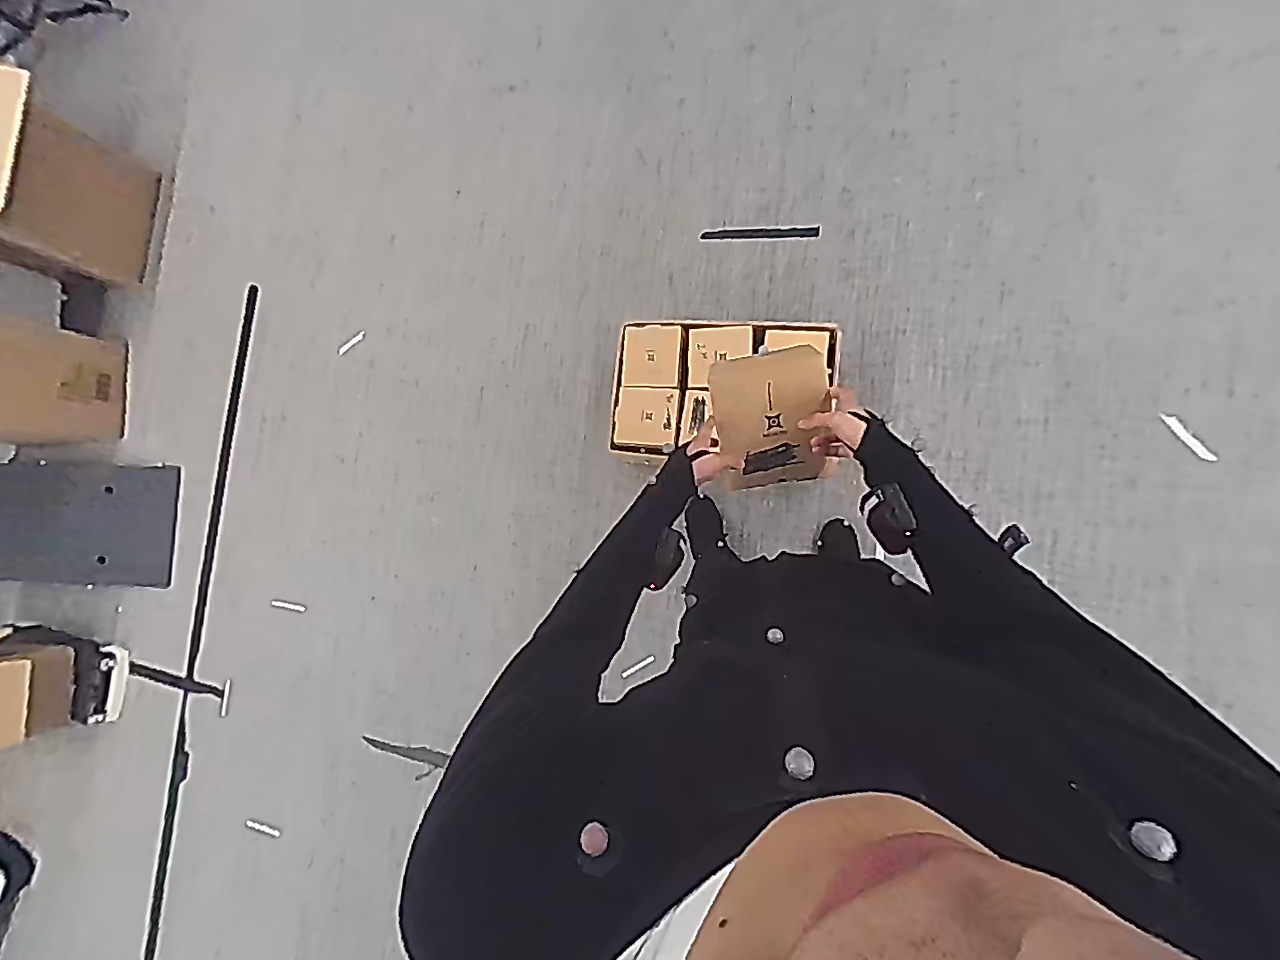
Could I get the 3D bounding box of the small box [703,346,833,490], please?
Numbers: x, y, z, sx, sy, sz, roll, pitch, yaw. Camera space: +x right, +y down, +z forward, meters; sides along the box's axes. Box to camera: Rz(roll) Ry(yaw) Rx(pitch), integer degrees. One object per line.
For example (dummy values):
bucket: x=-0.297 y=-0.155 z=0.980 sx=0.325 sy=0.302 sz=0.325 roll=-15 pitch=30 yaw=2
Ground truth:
small box: x=0.198 y=-0.103 z=0.851 sx=0.168 sy=0.176 sz=0.179 roll=-9 pitch=107 yaw=12
